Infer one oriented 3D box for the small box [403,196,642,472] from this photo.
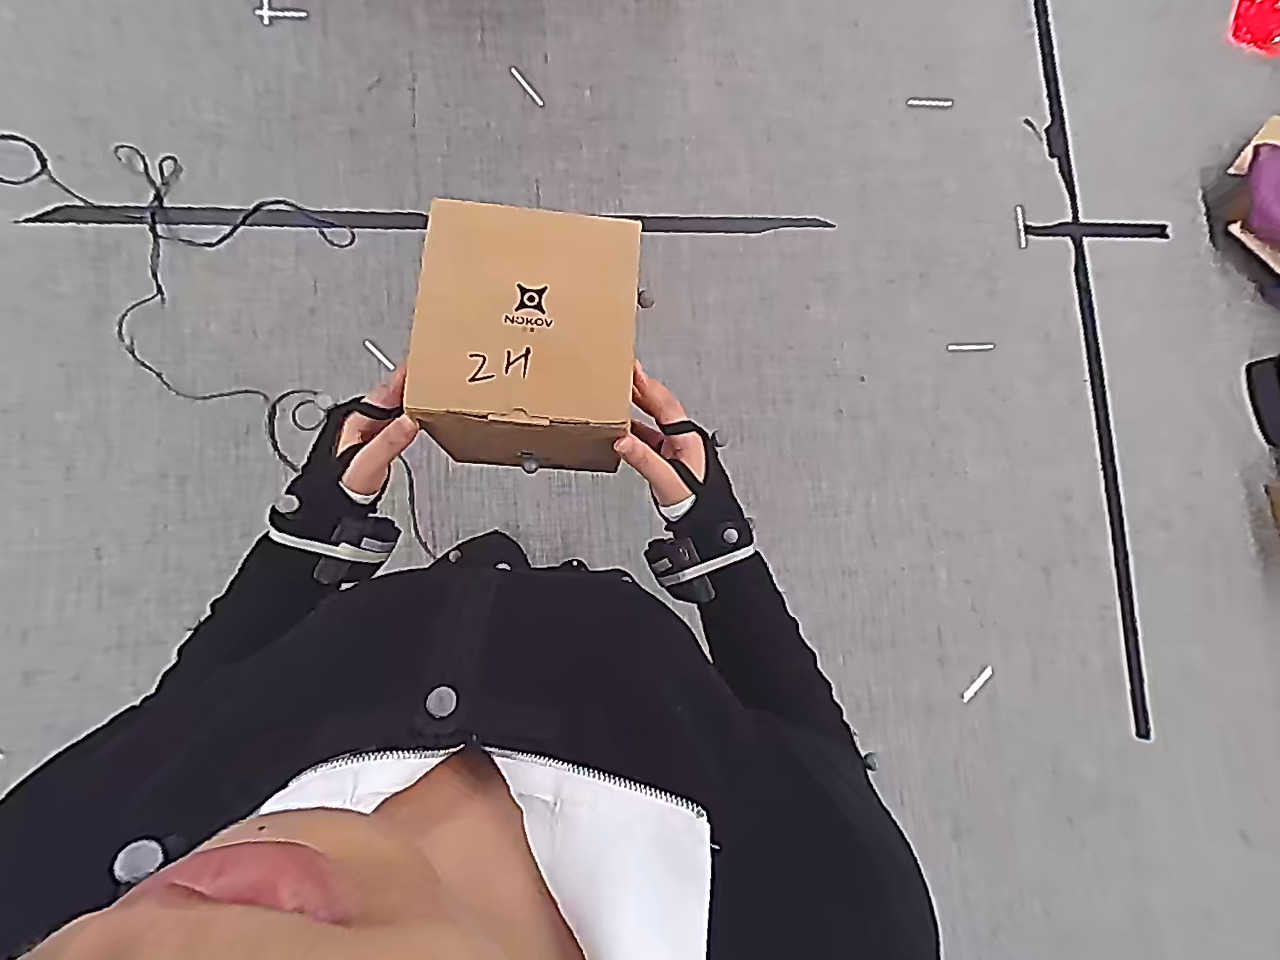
[{"bbox_3d":[-0.092,-0.115,0.487,0.168,0.176,0.179,4,78,-4],"label":"small box"}]
